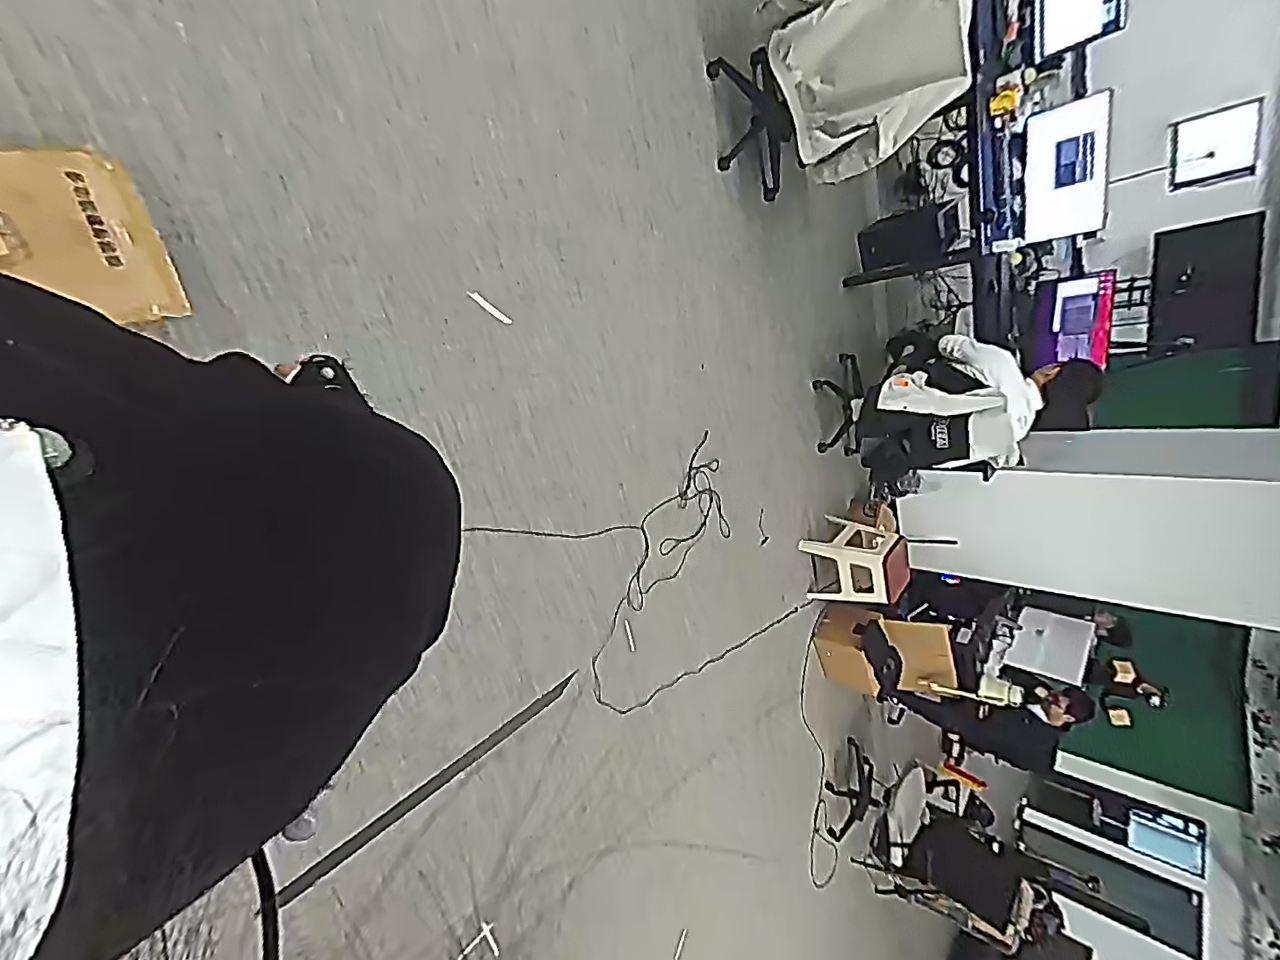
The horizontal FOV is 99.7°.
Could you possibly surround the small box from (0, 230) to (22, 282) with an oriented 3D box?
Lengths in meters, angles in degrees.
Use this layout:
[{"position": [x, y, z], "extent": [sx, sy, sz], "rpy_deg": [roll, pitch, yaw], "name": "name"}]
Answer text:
[{"position": [-1.081, -0.387, 0.800], "extent": [0.168, 0.176, 0.179], "rpy_deg": [-29, 113, -38], "name": "small box"}]
